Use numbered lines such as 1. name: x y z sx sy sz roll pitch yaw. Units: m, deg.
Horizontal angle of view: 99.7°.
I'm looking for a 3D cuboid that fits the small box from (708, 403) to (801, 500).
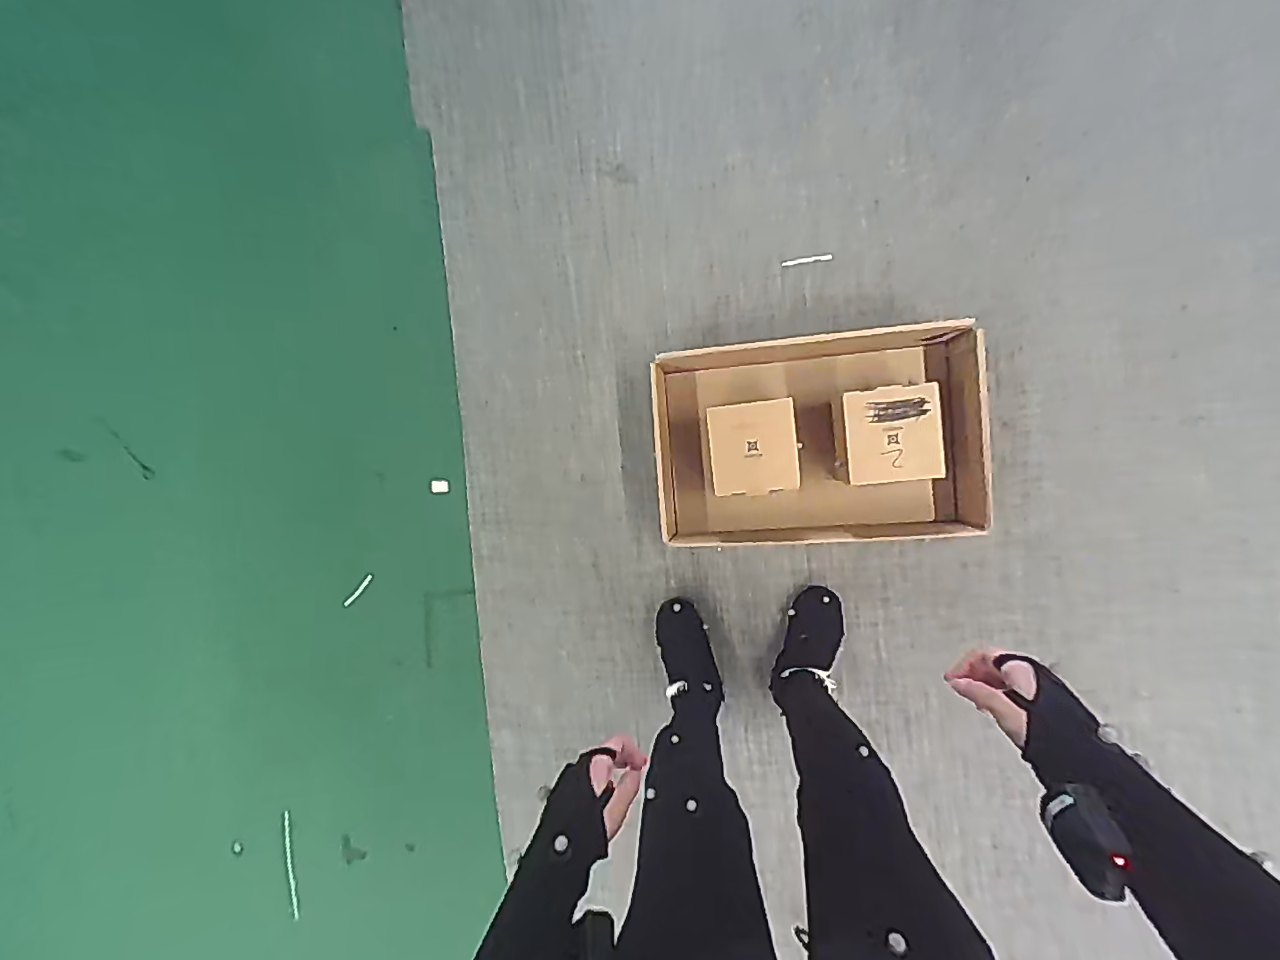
1. small box: 0.234 -0.057 1.114 0.168 0.176 0.179 -5 90 10
